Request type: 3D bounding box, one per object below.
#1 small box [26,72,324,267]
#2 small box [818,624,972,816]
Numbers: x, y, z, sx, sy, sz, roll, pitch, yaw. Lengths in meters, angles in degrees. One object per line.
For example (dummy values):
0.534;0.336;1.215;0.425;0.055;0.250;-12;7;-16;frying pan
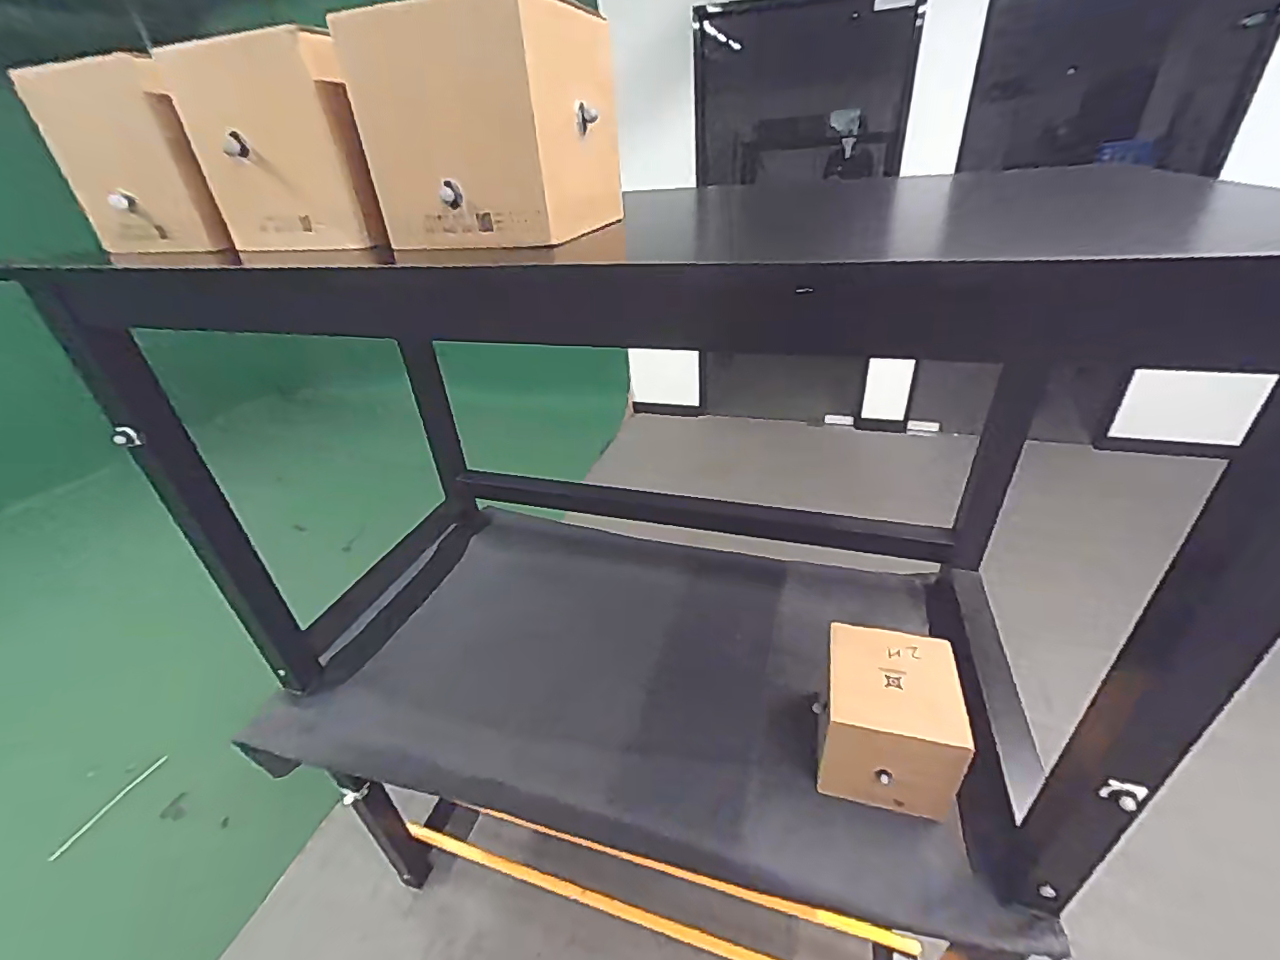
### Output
-0.501;-0.351;0.621;0.168;0.176;0.179;6;34;17;small box
0.351;0.339;0.776;0.168;0.176;0.179;6;32;16;small box
